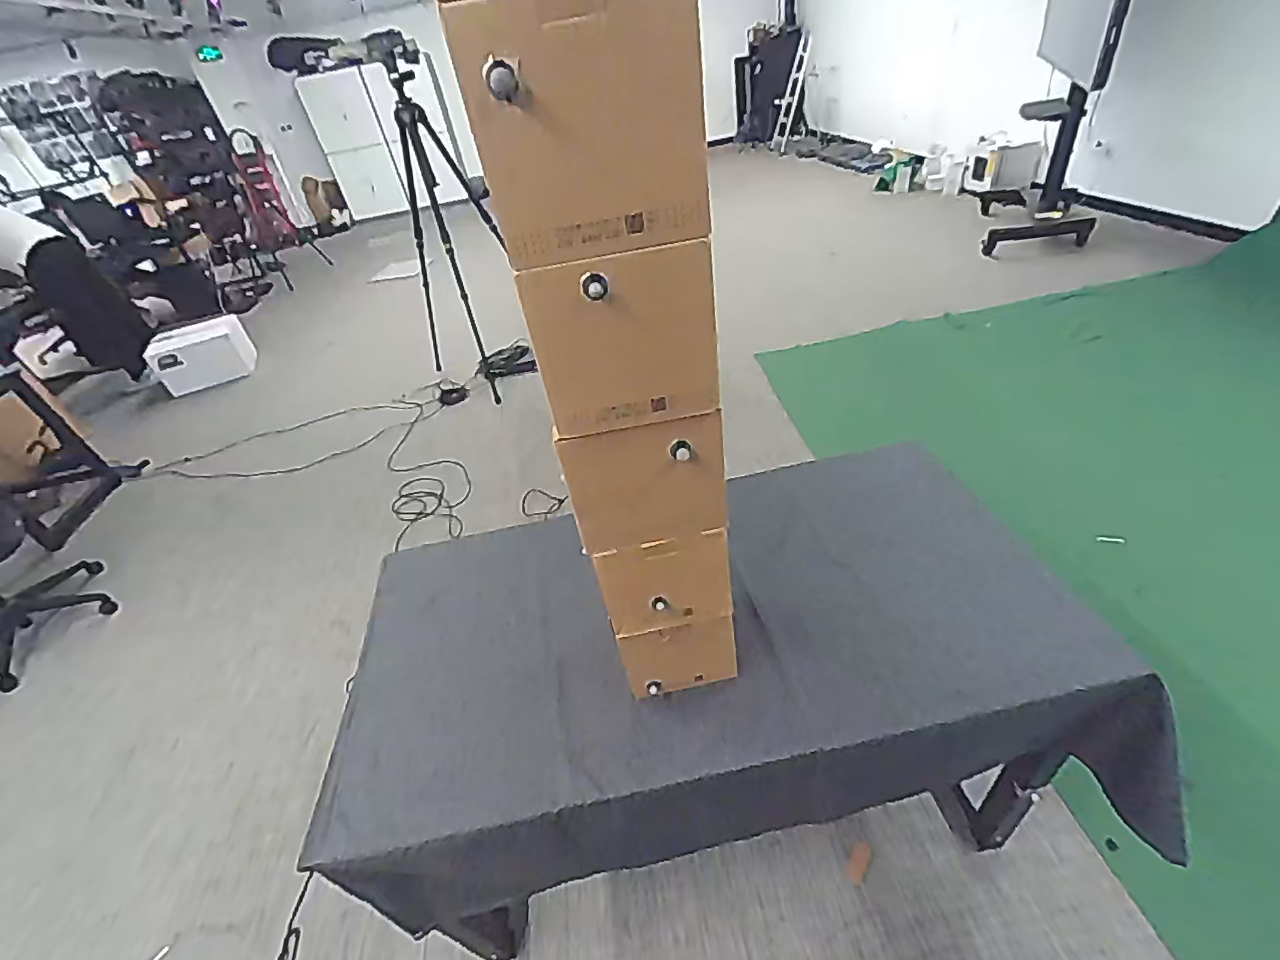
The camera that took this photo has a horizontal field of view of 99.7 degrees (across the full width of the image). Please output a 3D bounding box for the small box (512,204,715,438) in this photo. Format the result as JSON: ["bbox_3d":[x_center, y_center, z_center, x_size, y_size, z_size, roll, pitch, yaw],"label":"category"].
[{"bbox_3d":[-0.022,-0.167,0.560,0.168,0.176,0.179,-11,38,1],"label":"small box"}]

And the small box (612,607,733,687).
[{"bbox_3d":[0.047,0.209,0.867,0.168,0.176,0.179,-13,37,-1],"label":"small box"}]

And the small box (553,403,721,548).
[{"bbox_3d":[-0.001,-0.040,0.661,0.179,0.176,0.168,-11,38,0],"label":"small box"}]

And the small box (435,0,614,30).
[{"bbox_3d":[-0.070,-0.421,0.357,0.168,0.176,0.179,-9,39,1],"label":"small box"}]

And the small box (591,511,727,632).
[{"bbox_3d":[0.022,0.084,0.766,0.168,0.176,0.179,-12,39,-1],"label":"small box"}]
